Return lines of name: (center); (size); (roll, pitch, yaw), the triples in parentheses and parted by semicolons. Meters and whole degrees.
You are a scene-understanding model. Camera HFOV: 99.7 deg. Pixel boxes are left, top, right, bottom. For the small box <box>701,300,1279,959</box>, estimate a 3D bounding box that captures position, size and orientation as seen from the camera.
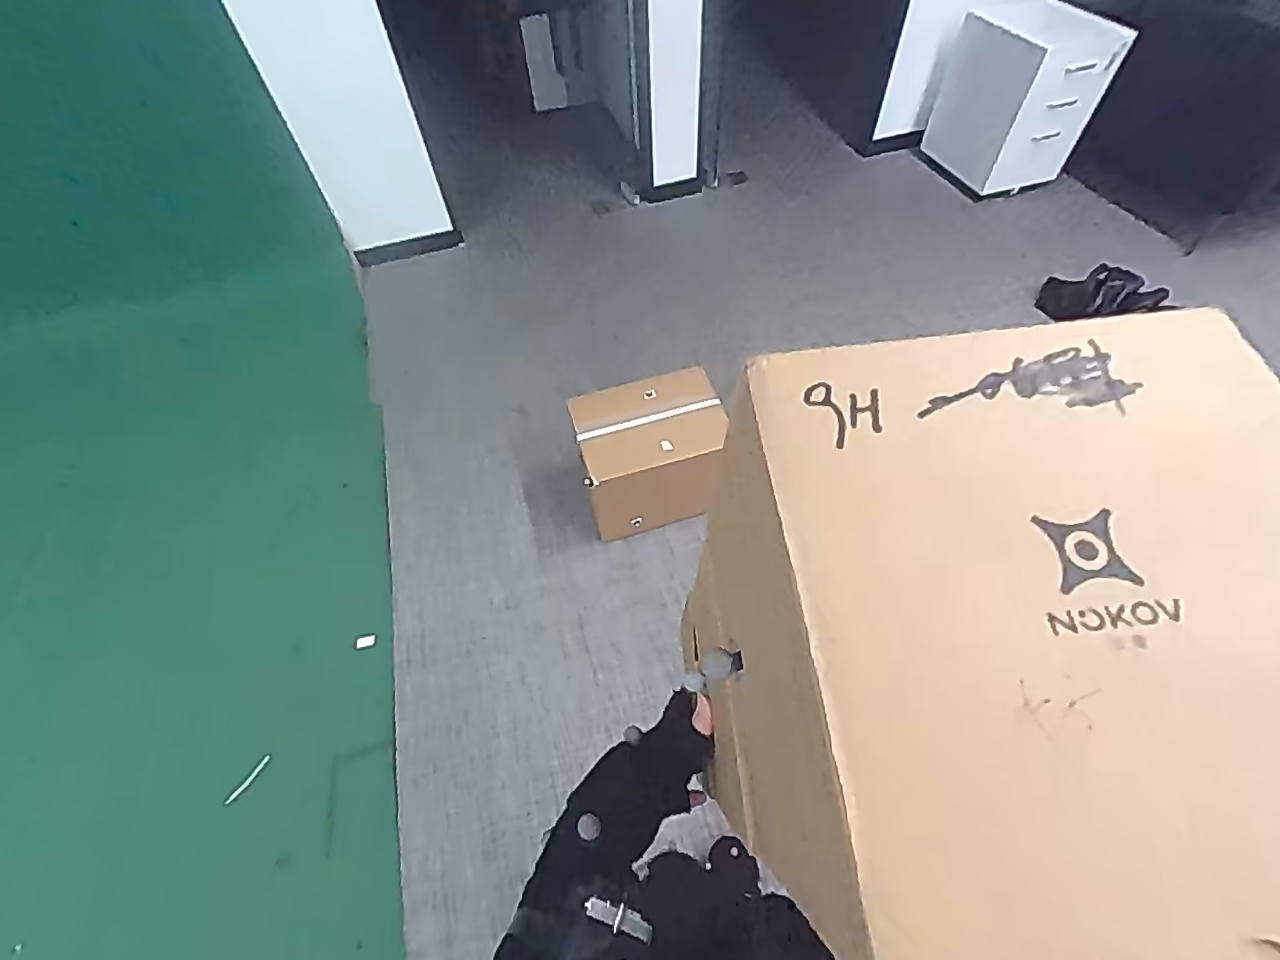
small box: (0.121, 0.058, 0.229); (0.168, 0.176, 0.179); (-8, 67, 0)
